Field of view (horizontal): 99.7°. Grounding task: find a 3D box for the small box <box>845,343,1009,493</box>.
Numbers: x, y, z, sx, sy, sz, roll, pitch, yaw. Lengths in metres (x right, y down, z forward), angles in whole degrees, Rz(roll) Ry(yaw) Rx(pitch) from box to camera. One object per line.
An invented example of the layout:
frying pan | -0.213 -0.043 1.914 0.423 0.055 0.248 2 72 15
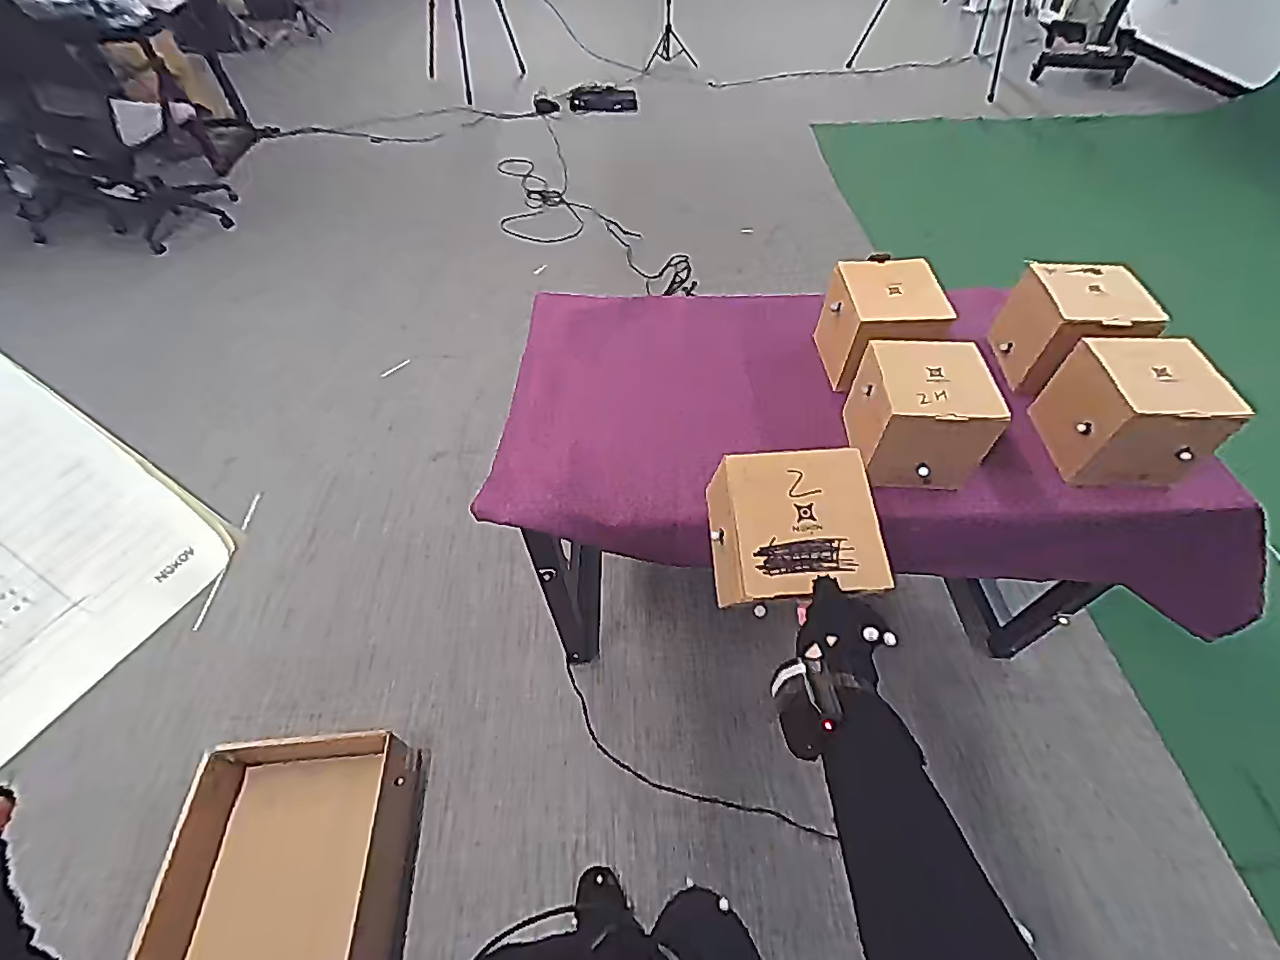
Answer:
small box | 0.447 -0.100 0.879 0.168 0.176 0.179 2 52 4

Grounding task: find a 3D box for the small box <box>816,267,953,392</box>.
small box | 0.448 -0.278 1.023 0.168 0.176 0.179 -2 51 0

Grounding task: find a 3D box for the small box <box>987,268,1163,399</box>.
small box | 0.787 -0.269 1.003 0.168 0.176 0.179 4 53 4
